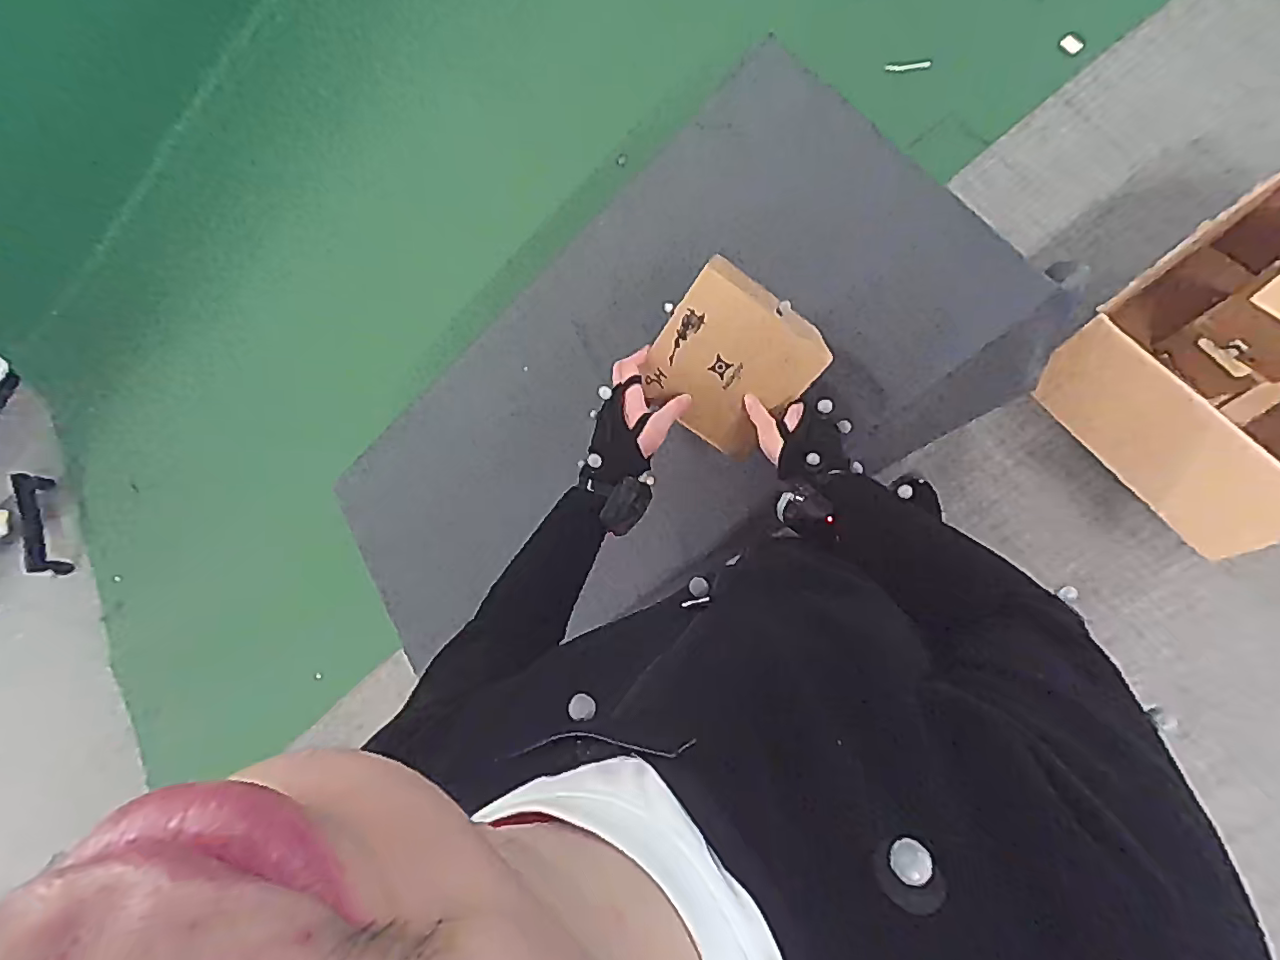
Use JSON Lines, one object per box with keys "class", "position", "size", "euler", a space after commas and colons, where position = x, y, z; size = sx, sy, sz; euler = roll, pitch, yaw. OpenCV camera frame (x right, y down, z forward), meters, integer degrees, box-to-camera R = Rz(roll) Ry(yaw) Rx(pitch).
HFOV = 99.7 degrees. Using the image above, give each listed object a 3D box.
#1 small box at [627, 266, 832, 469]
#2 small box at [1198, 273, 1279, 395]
{"class": "small box", "position": [0.112, -0.151, 0.686], "size": [0.179, 0.176, 0.168], "euler": [34, 117, -7]}
{"class": "small box", "position": [1.161, -0.276, 0.944], "size": [0.179, 0.176, 0.168], "euler": [-46, 72, 13]}
